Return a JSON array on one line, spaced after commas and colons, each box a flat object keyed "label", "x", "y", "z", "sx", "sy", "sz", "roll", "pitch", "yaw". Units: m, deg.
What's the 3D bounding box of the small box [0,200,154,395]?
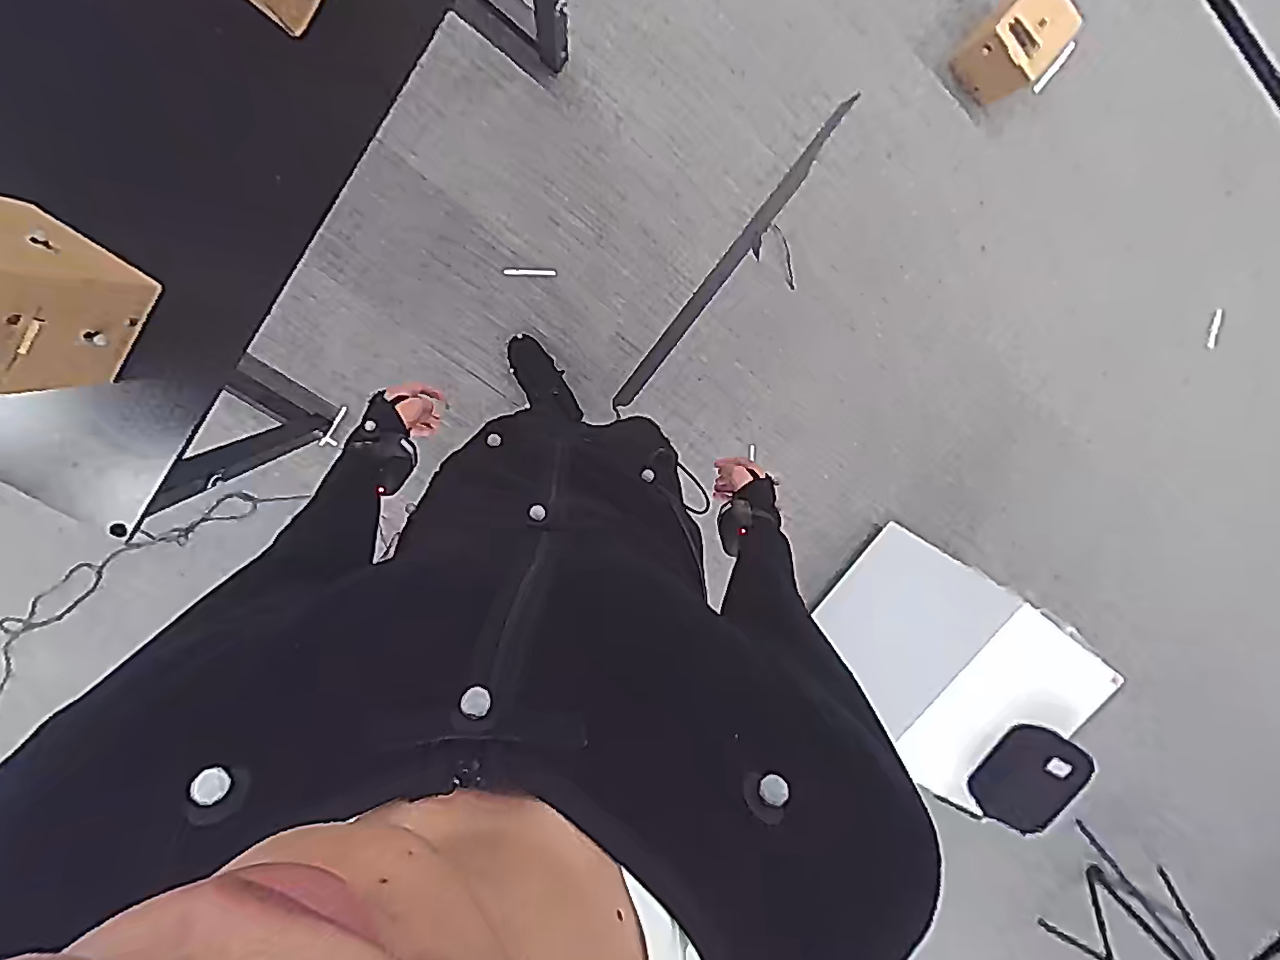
[{"label": "small box", "x": -0.758, "y": -0.228, "z": 0.653, "sx": 0.179, "sy": 0.176, "sz": 0.168, "roll": 33, "pitch": 99, "yaw": -15}]

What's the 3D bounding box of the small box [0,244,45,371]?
[{"label": "small box", "x": -0.740, "y": -0.185, "z": 0.494, "sx": 0.179, "sy": 0.176, "sz": 0.168, "roll": 34, "pitch": 100, "yaw": -15}]

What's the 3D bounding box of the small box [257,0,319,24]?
[{"label": "small box", "x": -0.441, "y": -0.653, "z": 0.573, "sx": 0.179, "sy": 0.176, "sz": 0.168, "roll": 35, "pitch": 99, "yaw": -15}]
